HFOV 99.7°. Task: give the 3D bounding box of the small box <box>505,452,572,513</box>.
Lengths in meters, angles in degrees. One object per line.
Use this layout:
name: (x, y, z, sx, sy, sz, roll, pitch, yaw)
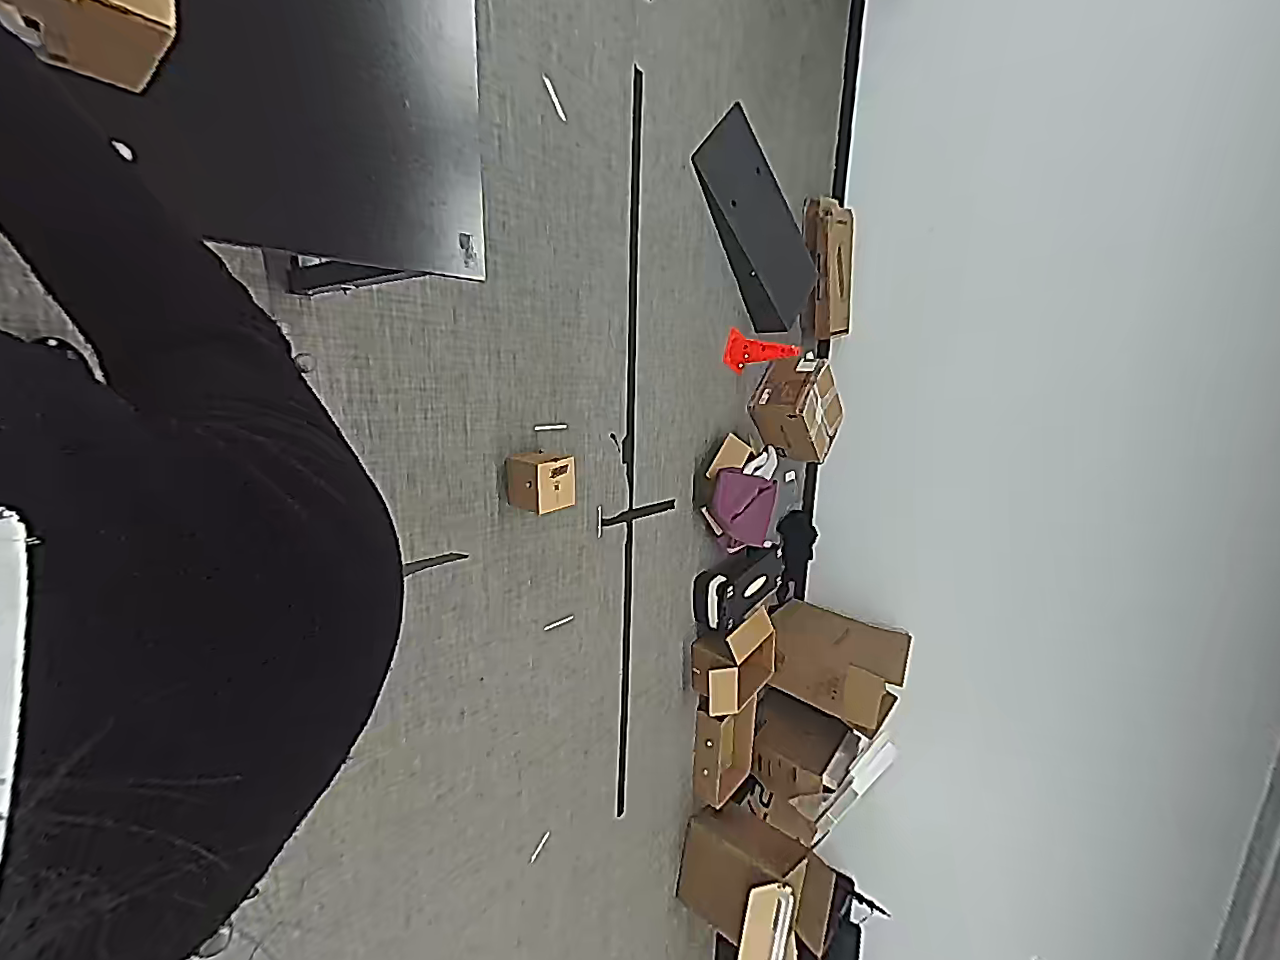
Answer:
small box: (-0.356, 0.002, 1.886, 0.168, 0.176, 0.179, -16, 112, -48)
